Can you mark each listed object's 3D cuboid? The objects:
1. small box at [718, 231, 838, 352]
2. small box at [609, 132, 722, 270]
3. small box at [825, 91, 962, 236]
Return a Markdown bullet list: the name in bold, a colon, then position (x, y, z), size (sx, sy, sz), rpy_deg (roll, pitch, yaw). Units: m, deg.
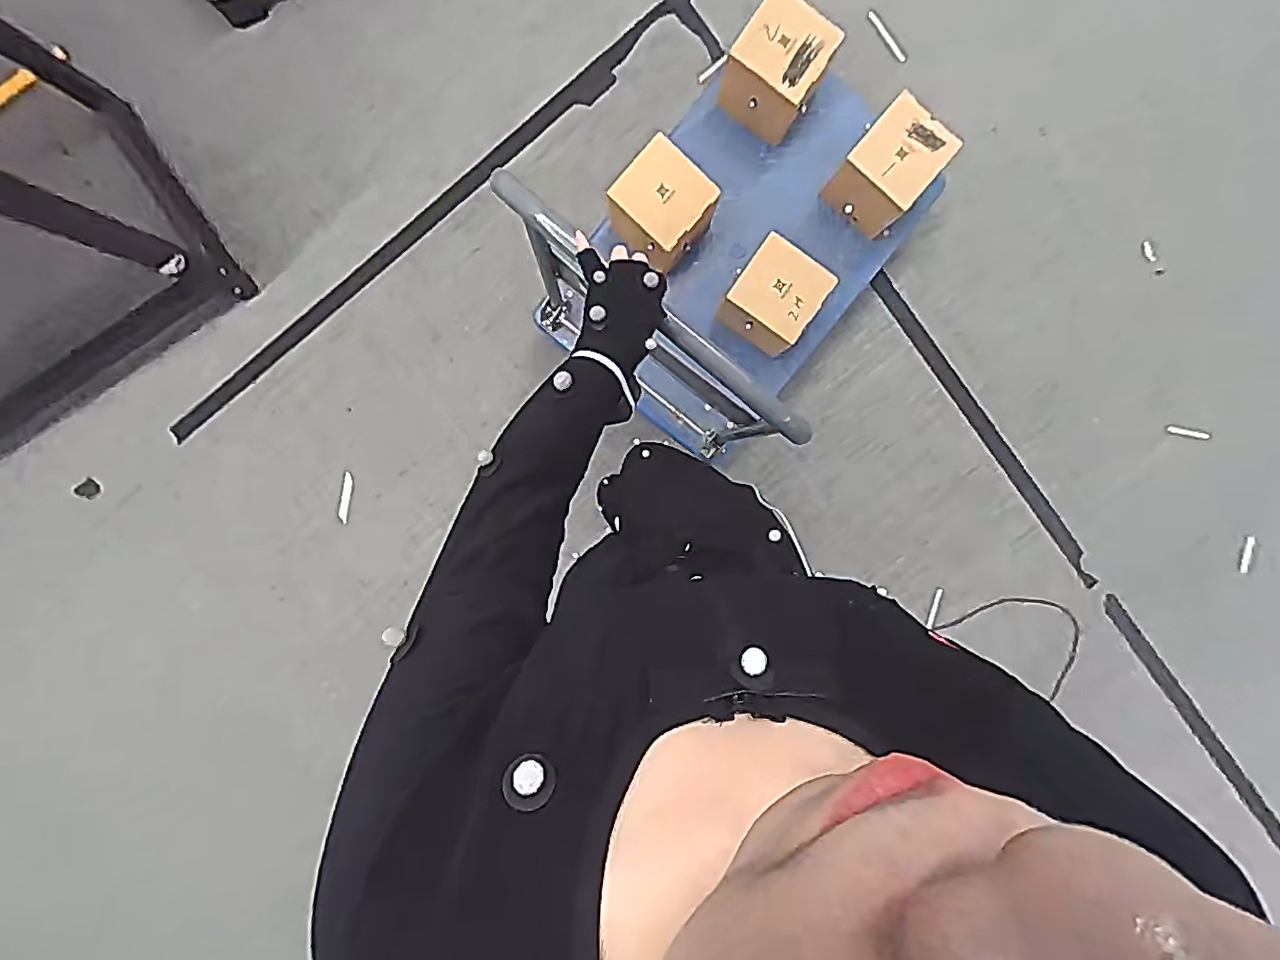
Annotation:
- **small box**: position (0.292, -0.402, 1.192), size (0.179, 0.176, 0.168), rpy_deg (35, 94, -3)
- **small box**: position (0.048, -0.591, 1.174), size (0.179, 0.176, 0.168), rpy_deg (42, 93, -5)
- **small box**: position (0.536, -0.673, 1.172), size (0.168, 0.176, 0.179), rpy_deg (41, 94, -4)
